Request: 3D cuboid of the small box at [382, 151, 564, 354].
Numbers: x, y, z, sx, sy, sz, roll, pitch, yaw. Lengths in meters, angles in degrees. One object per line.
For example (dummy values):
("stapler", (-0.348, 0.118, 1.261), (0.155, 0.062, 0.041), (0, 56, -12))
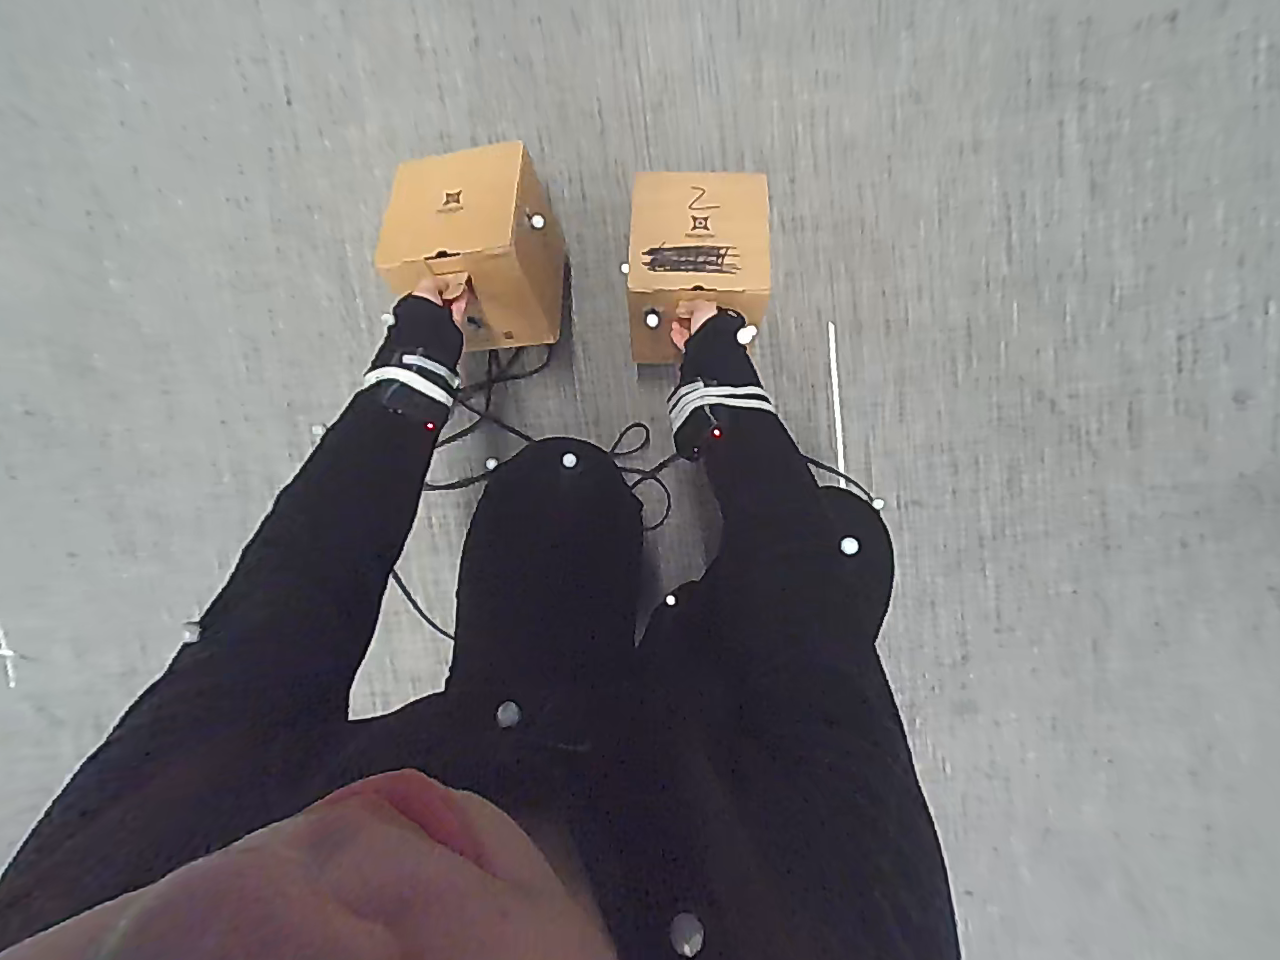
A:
("small box", (-0.204, -0.291, 0.715), (0.168, 0.176, 0.179), (-3, 67, 9))
